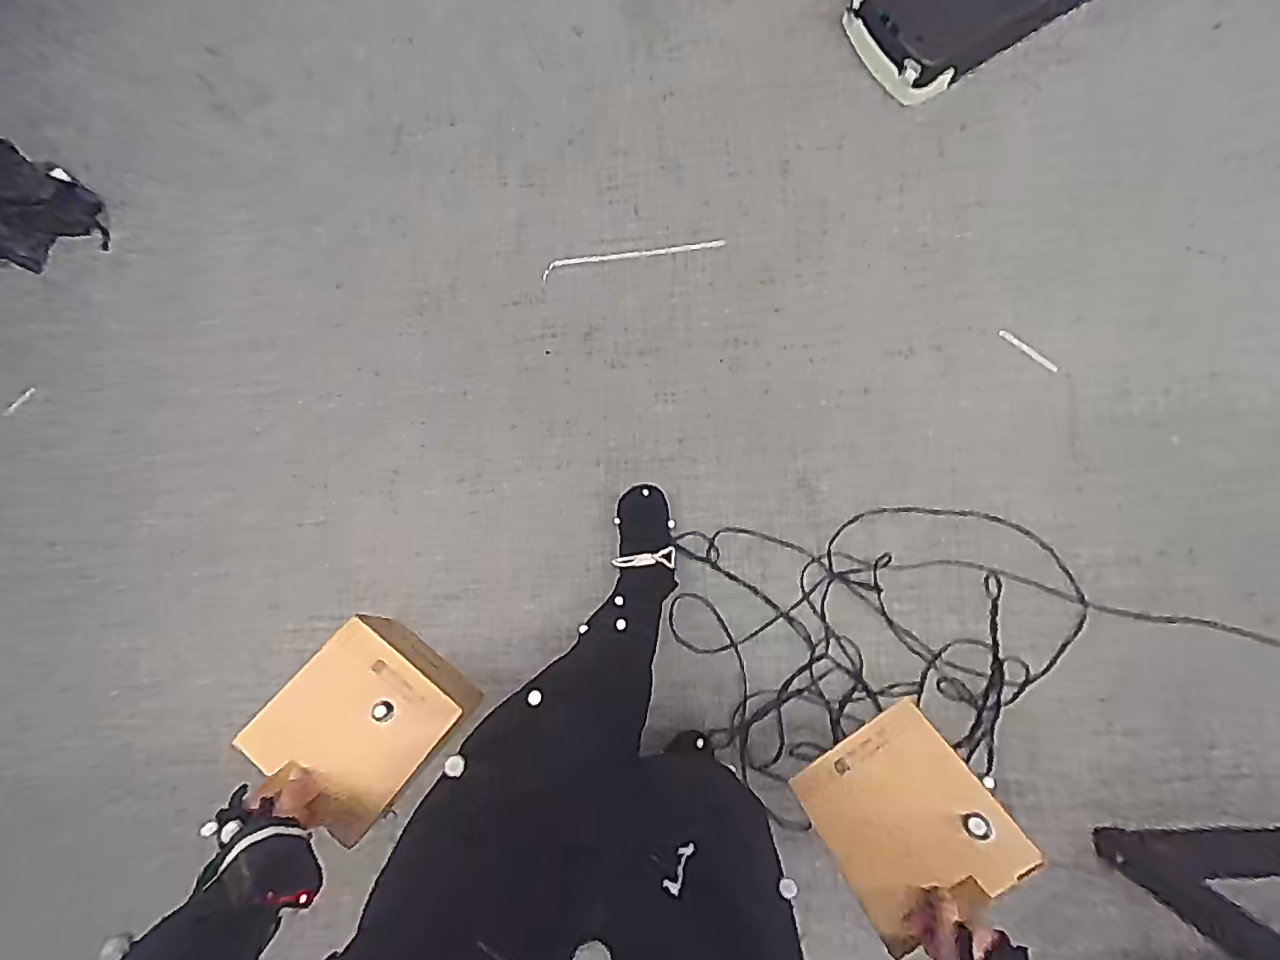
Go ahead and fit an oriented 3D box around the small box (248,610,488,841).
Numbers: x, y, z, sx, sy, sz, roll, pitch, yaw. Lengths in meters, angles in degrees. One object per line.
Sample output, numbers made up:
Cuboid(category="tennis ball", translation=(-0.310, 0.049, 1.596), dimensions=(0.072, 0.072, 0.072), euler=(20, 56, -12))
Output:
Cuboid(category="small box", translation=(-0.302, 0.278, 0.651), dimensions=(0.168, 0.179, 0.176), euler=(40, 70, 6))
